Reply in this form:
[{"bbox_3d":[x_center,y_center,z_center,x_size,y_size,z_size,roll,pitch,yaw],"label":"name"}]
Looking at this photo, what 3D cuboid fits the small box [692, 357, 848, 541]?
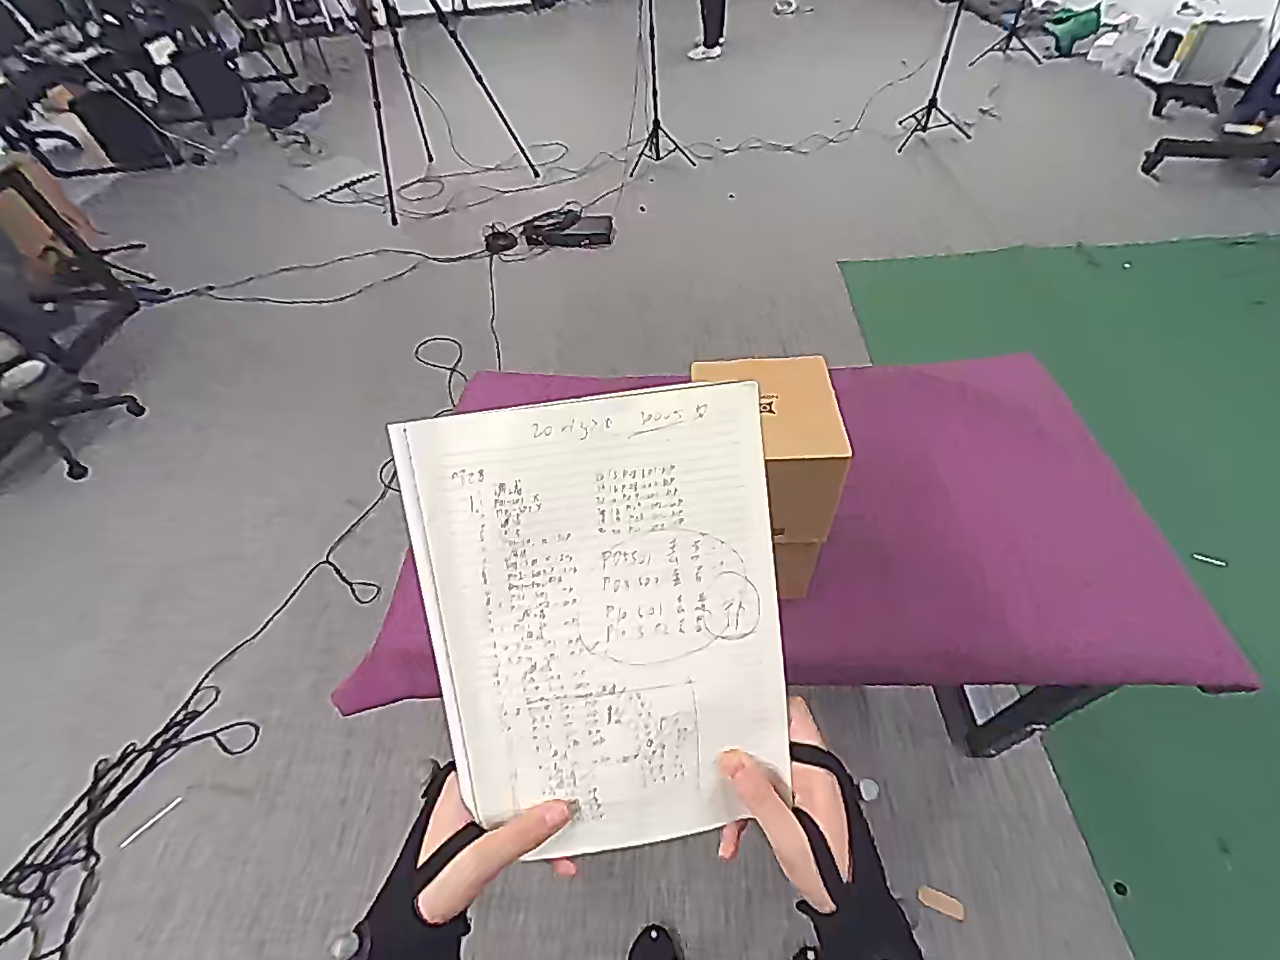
[{"bbox_3d":[0.152,-0.034,0.691,0.168,0.176,0.179,-2,49,5],"label":"small box"}]
